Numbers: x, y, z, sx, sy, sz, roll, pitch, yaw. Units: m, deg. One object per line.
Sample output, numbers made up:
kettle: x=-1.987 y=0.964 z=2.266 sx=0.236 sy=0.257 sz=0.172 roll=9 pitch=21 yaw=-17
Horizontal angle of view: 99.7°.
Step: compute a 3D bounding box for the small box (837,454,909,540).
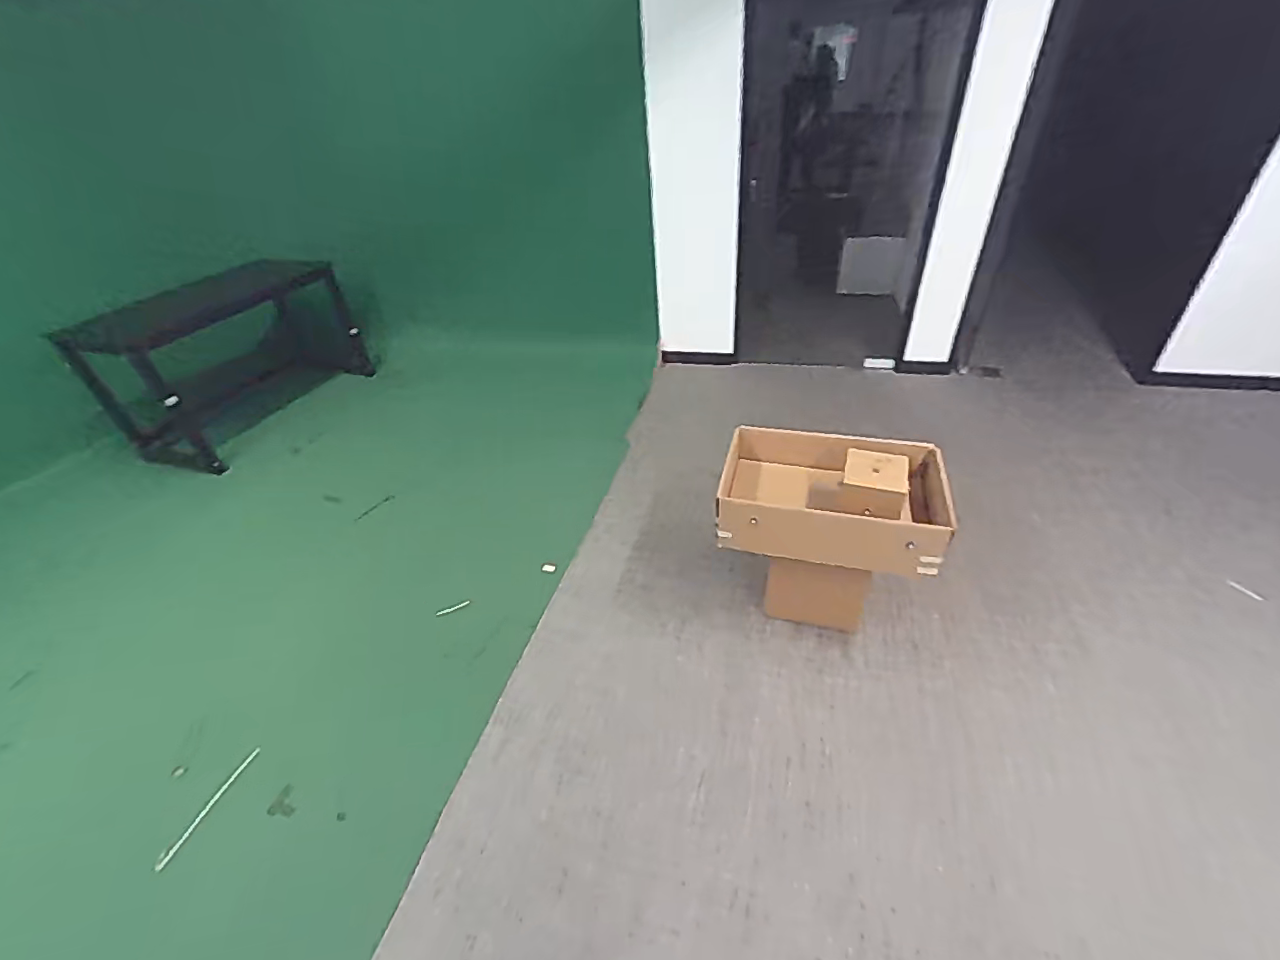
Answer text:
small box: x=0.673 y=0.051 z=1.565 sx=0.168 sy=0.176 sz=0.179 roll=10 pitch=39 yaw=20
